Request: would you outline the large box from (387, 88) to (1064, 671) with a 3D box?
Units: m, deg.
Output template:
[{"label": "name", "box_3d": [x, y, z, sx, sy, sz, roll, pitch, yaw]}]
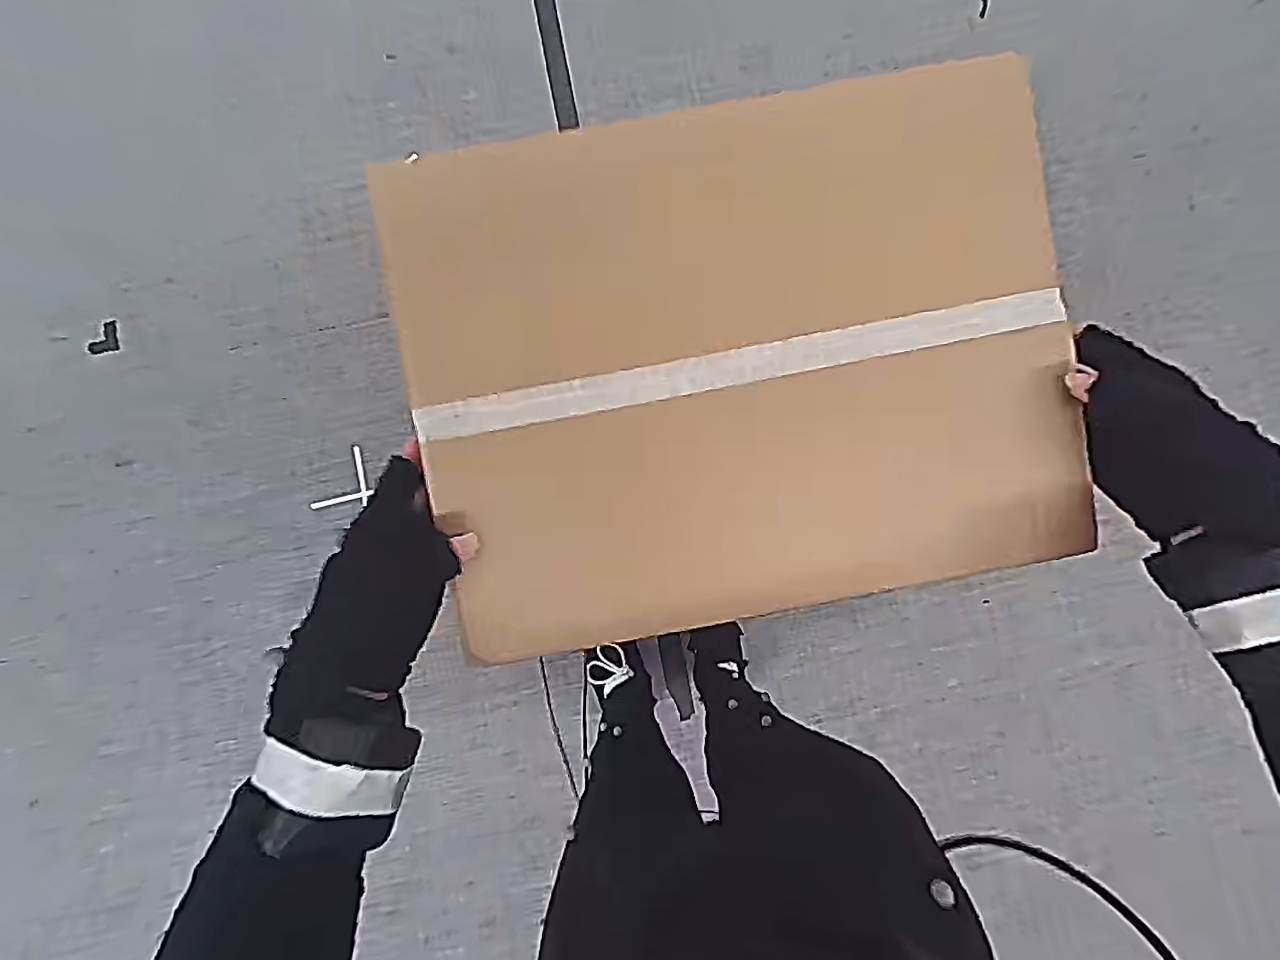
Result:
[{"label": "large box", "box_3d": [0.061, -0.070, 0.500, 0.408, 0.320, 0.320, -11, 92, 0]}]
